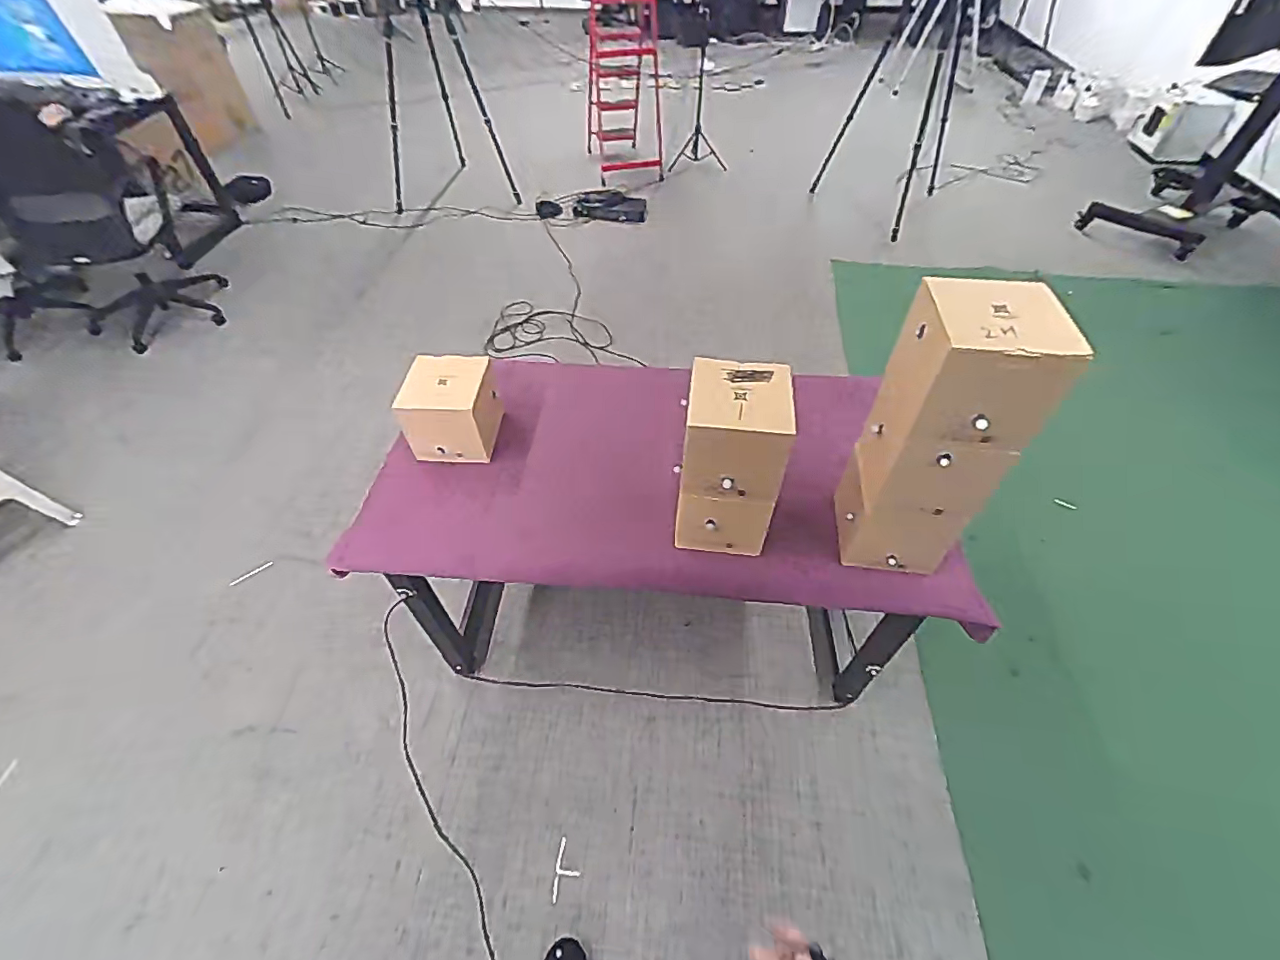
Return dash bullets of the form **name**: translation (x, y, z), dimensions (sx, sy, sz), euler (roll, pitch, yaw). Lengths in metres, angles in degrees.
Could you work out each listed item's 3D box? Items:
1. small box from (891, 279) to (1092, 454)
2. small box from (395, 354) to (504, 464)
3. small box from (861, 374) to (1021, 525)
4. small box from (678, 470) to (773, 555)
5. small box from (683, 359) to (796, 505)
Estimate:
- **small box**: translation (0.476, -0.162, 0.771), dimensions (0.168, 0.176, 0.179), euler (5, 50, 6)
- **small box**: translation (-0.411, -0.158, 1.205), dimensions (0.168, 0.176, 0.179), euler (2, 51, 2)
- **small box**: translation (0.478, -0.051, 0.893), dimensions (0.168, 0.176, 0.179), euler (6, 49, 7)
- **small box**: translation (0.163, 0.027, 1.048), dimensions (0.168, 0.176, 0.179), euler (5, 49, 5)
- **small box**: translation (0.164, -0.083, 0.926), dimensions (0.168, 0.176, 0.179), euler (6, 49, 6)
